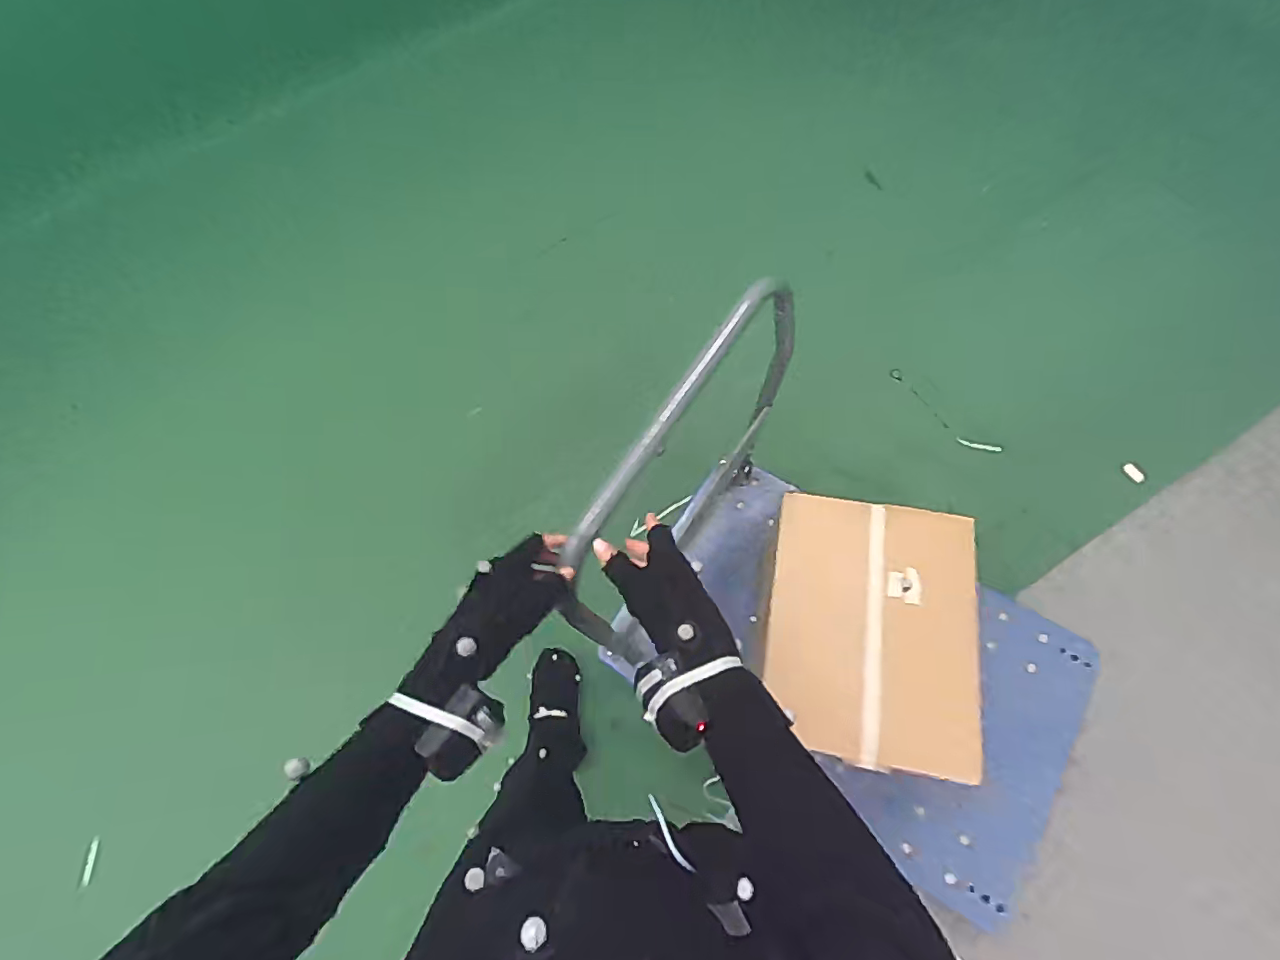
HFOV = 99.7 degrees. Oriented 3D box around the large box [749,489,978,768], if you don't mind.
[{"bbox_3d":[0.382,0.275,1.000,0.320,0.320,0.408,8,67,9],"label":"large box"}]
